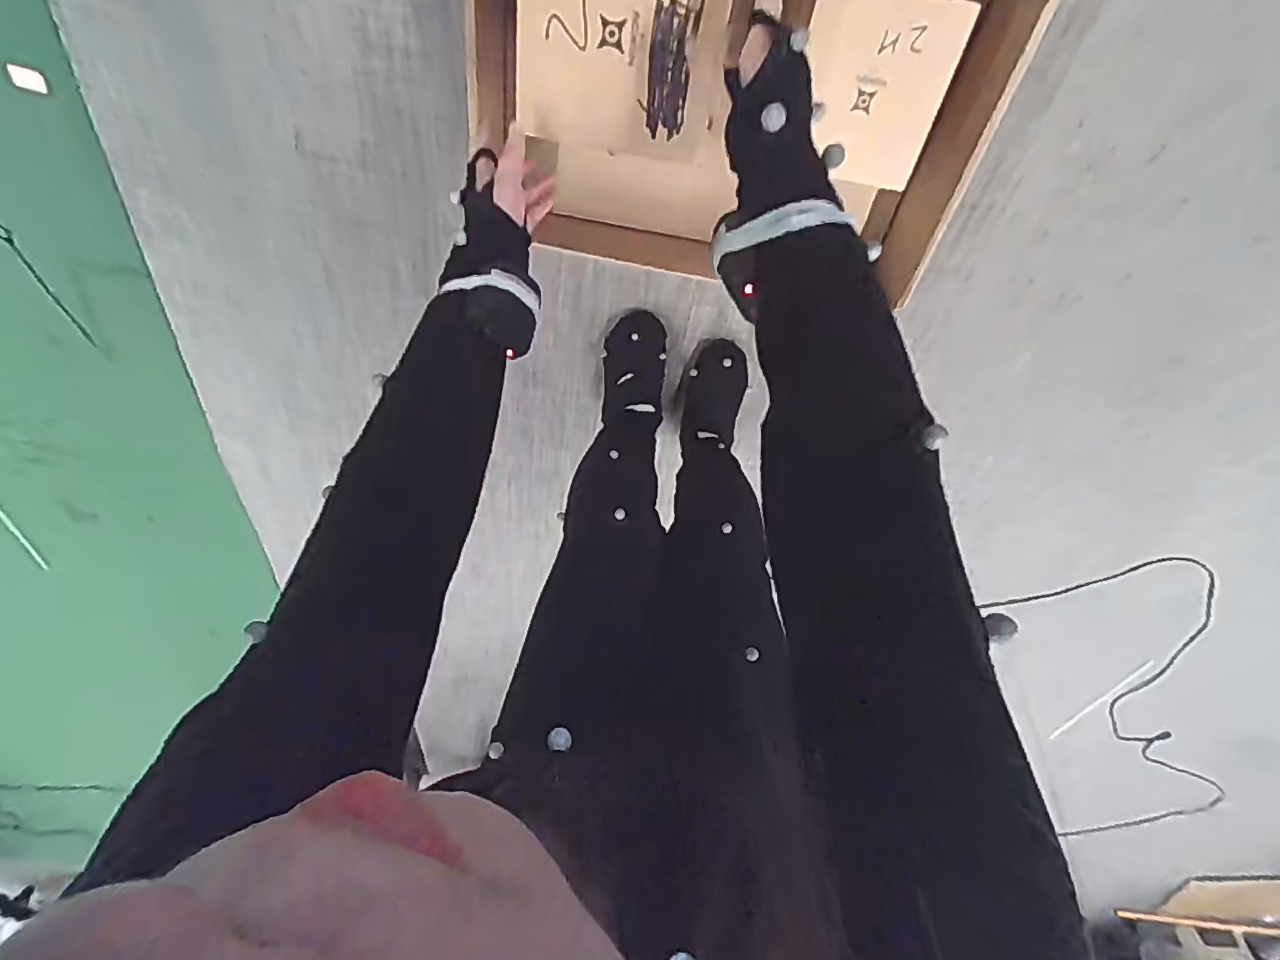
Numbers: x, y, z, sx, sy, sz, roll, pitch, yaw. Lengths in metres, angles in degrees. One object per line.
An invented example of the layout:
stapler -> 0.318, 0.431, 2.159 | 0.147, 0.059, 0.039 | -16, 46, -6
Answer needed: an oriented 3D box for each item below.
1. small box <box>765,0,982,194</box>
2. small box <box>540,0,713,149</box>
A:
small box -> 0.257, -0.474, 0.651 | 0.168, 0.176, 0.179 | 9, 130, -4
small box -> -0.012, -0.522, 0.633 | 0.168, 0.176, 0.179 | 12, 129, -7
